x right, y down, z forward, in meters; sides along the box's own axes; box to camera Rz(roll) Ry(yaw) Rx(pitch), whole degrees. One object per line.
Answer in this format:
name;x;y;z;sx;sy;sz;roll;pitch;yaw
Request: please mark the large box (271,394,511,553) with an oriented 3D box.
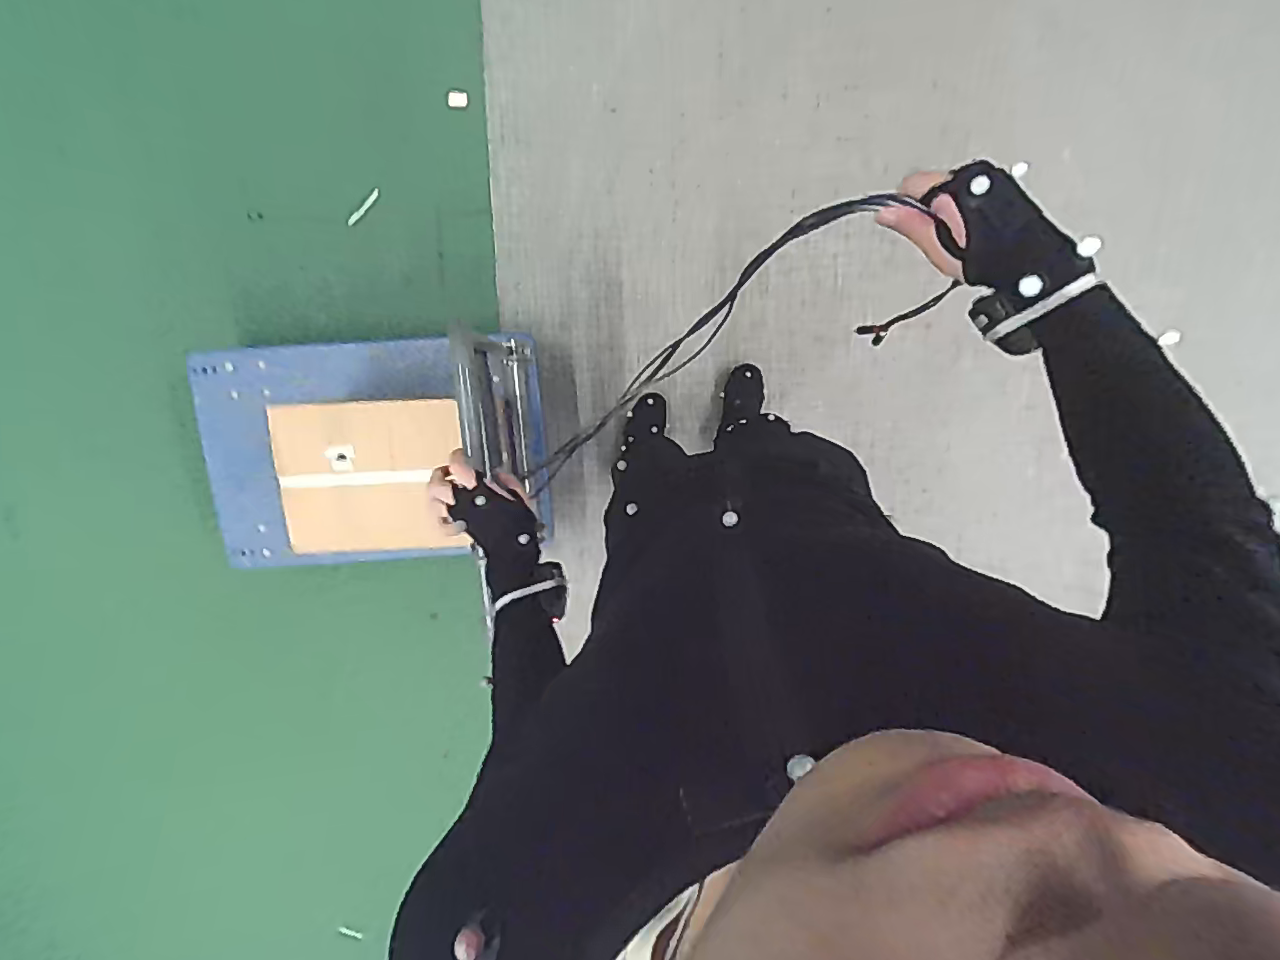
large box;-0.543;-0.032;1.266;0.408;0.320;0.320;-2;100;-1
